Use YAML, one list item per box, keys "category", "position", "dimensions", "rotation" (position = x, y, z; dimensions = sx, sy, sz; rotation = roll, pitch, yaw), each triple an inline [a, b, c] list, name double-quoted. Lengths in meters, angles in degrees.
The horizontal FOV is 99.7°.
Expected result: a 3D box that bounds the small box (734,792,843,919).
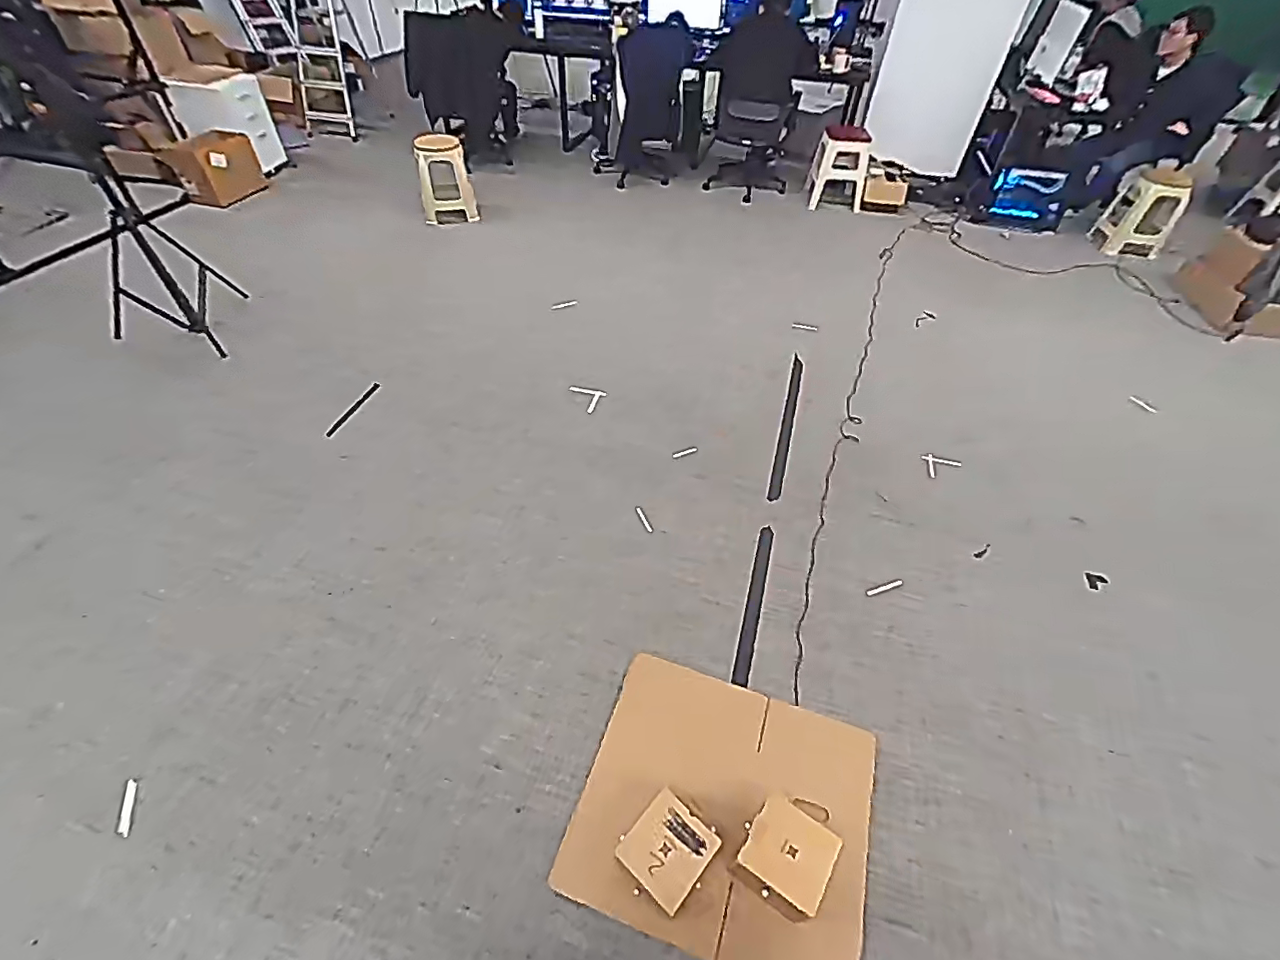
- category: "small box"
  position: [0.332, 0.857, 1.231]
  dimensions: [0.179, 0.176, 0.168]
  rotation: [26, 54, 24]
